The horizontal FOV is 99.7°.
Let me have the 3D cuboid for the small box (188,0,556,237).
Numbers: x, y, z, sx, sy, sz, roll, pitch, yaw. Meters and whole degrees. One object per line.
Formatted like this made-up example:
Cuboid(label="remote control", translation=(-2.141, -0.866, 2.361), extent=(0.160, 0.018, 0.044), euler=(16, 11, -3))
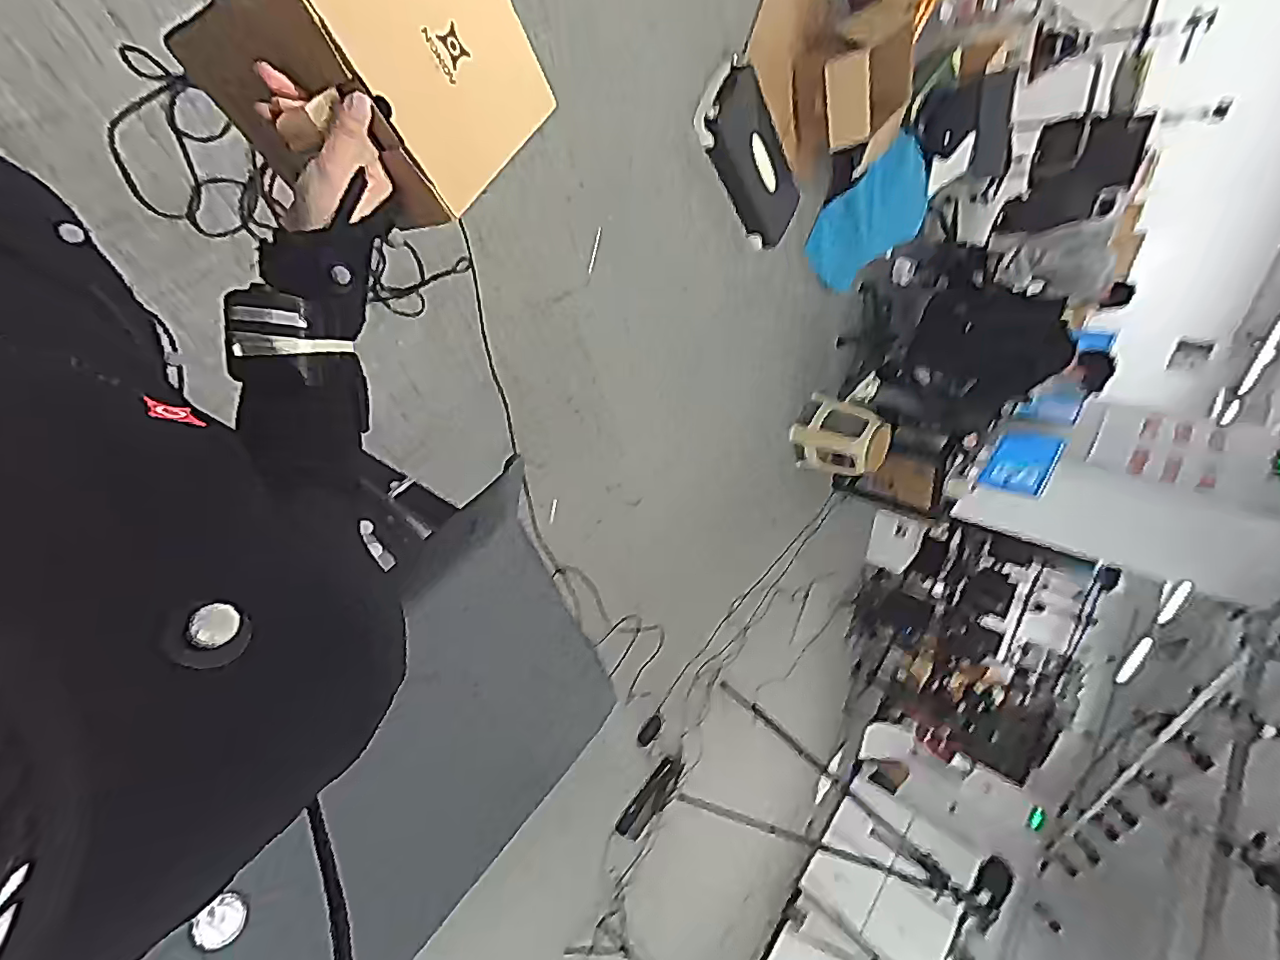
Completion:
Cuboid(label="small box", translation=(-0.206, -0.325, 0.441), extent=(0.179, 0.176, 0.168), euler=(-64, 145, -25))
